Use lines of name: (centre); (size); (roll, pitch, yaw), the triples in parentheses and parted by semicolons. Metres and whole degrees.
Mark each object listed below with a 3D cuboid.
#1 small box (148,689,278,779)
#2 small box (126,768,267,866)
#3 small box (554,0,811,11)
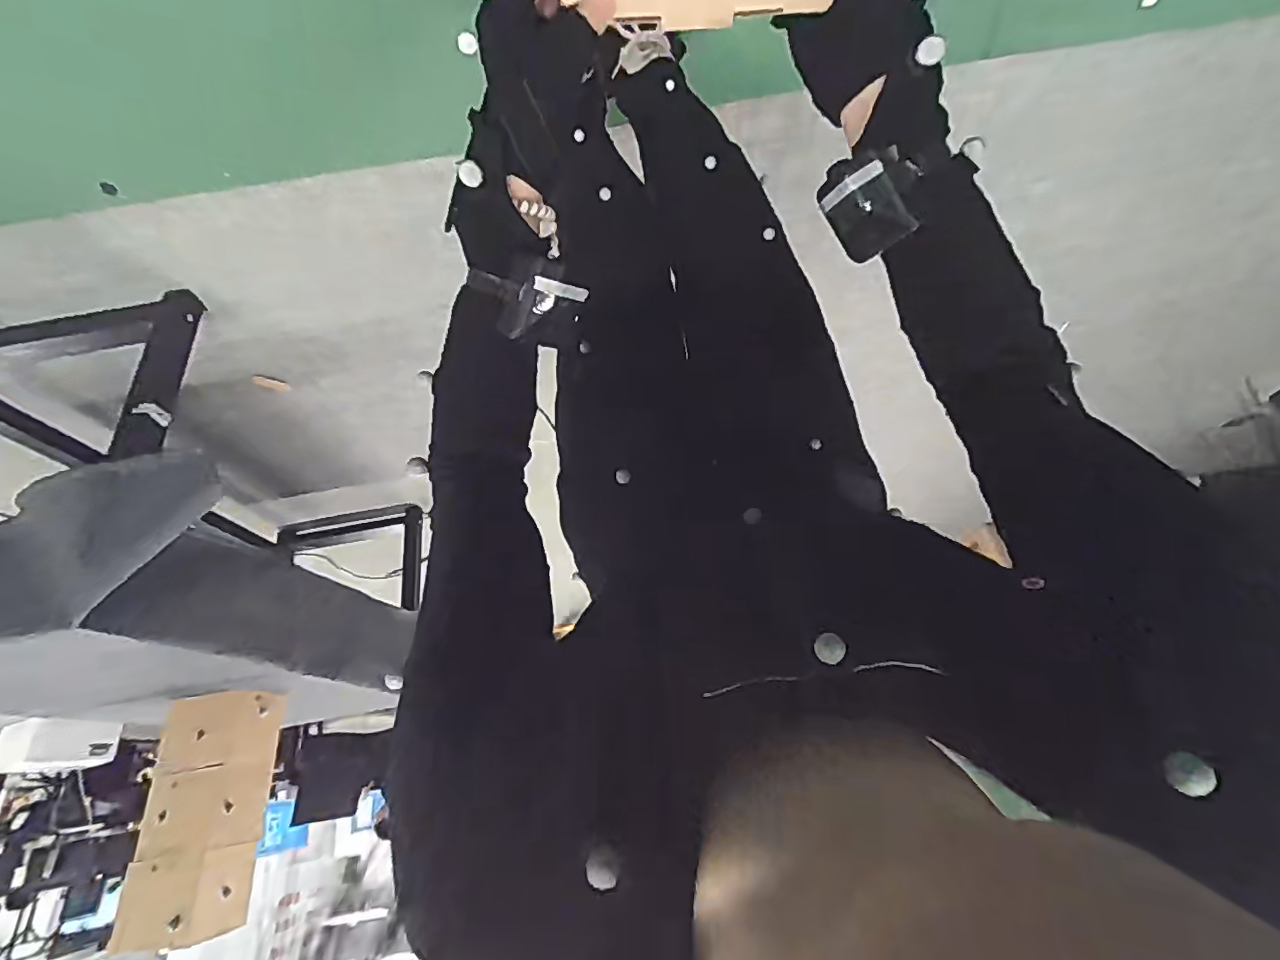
small box: (-1.032, 0.623, 1.324); (0.179, 0.176, 0.168); (-10, 152, -1)
small box: (-1.011, 0.767, 1.250); (0.168, 0.176, 0.179); (-9, 152, 2)
small box: (0.025, -0.407, 0.309); (0.168, 0.176, 0.179); (-2, 143, 1)
